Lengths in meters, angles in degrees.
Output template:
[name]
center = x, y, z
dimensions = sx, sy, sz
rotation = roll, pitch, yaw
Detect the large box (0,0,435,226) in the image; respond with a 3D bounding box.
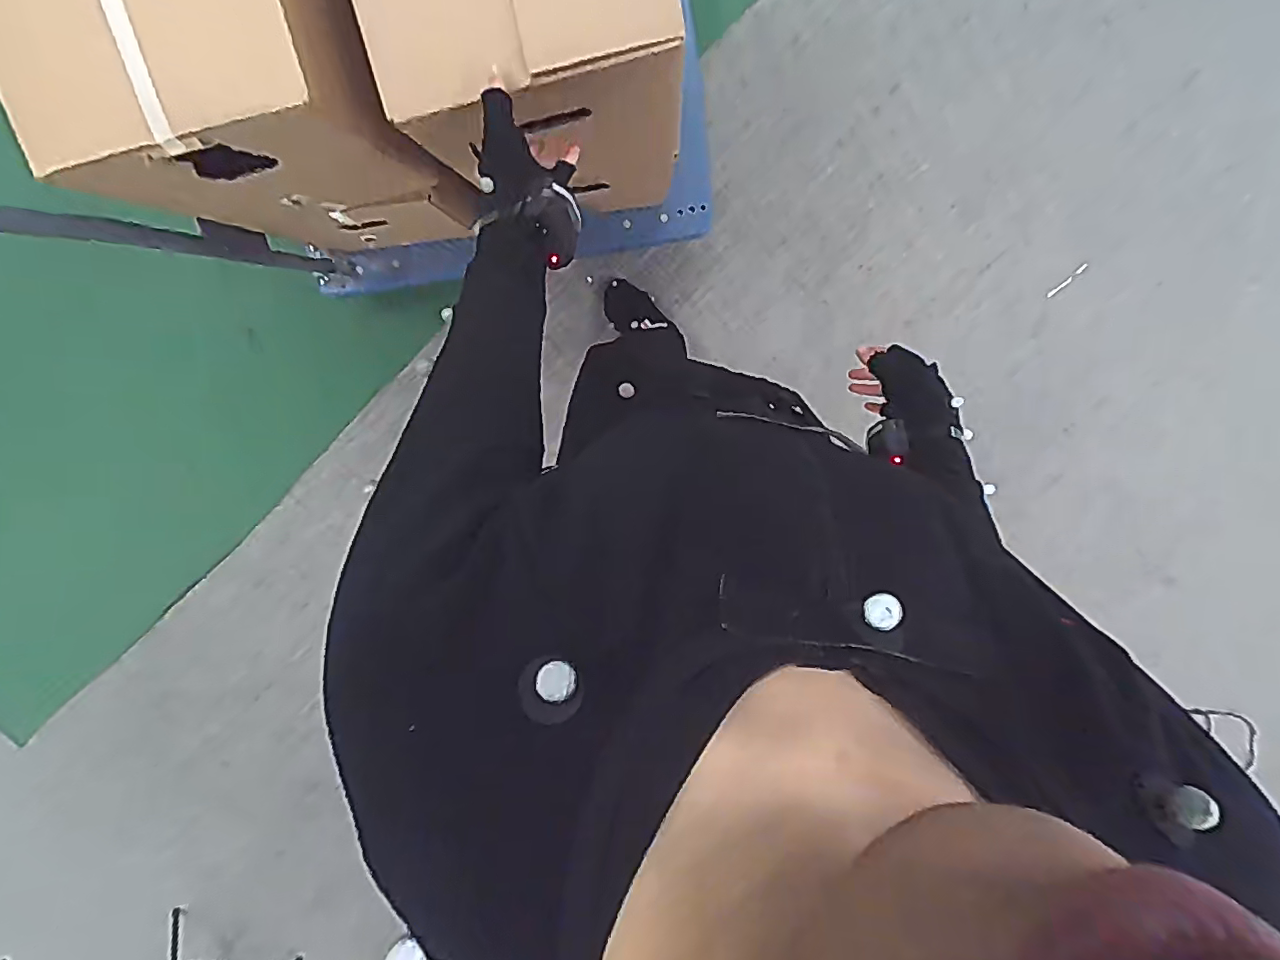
[large box]
center = -0.498, -0.567, 0.631
dimensions = 0.320, 0.320, 0.408
rotation = -10, 104, 6
